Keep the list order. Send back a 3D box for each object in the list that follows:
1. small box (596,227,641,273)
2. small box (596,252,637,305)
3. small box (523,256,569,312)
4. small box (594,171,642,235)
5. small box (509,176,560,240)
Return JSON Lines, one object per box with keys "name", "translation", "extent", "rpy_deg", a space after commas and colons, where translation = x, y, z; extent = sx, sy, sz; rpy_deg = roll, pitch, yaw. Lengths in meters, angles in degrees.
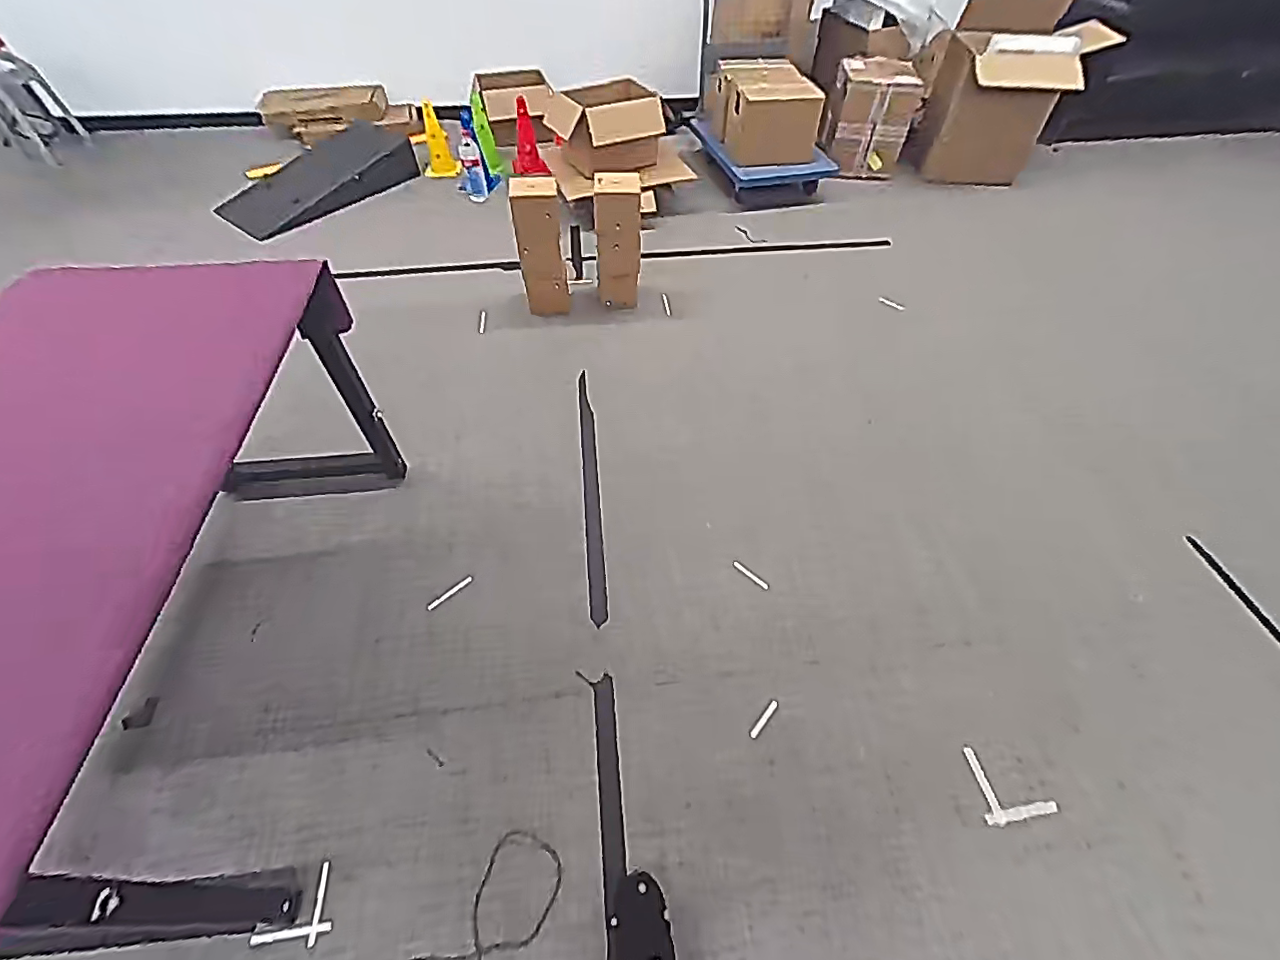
{"name": "small box", "translation": [-0.091, -0.969, 2.222], "extent": [0.179, 0.176, 0.168], "rpy_deg": [-3, 53, -5]}
{"name": "small box", "translation": [-0.102, -0.881, 2.362], "extent": [0.168, 0.176, 0.179], "rpy_deg": [-5, 52, -6]}
{"name": "small box", "translation": [-0.400, -0.838, 2.322], "extent": [0.179, 0.176, 0.168], "rpy_deg": [-4, 52, -5]}
{"name": "small box", "translation": [-0.087, -1.067, 2.090], "extent": [0.179, 0.176, 0.168], "rpy_deg": [0, 52, -3]}
{"name": "small box", "translation": [-0.398, -1.038, 2.063], "extent": [0.179, 0.176, 0.168], "rpy_deg": [-6, 50, -5]}
